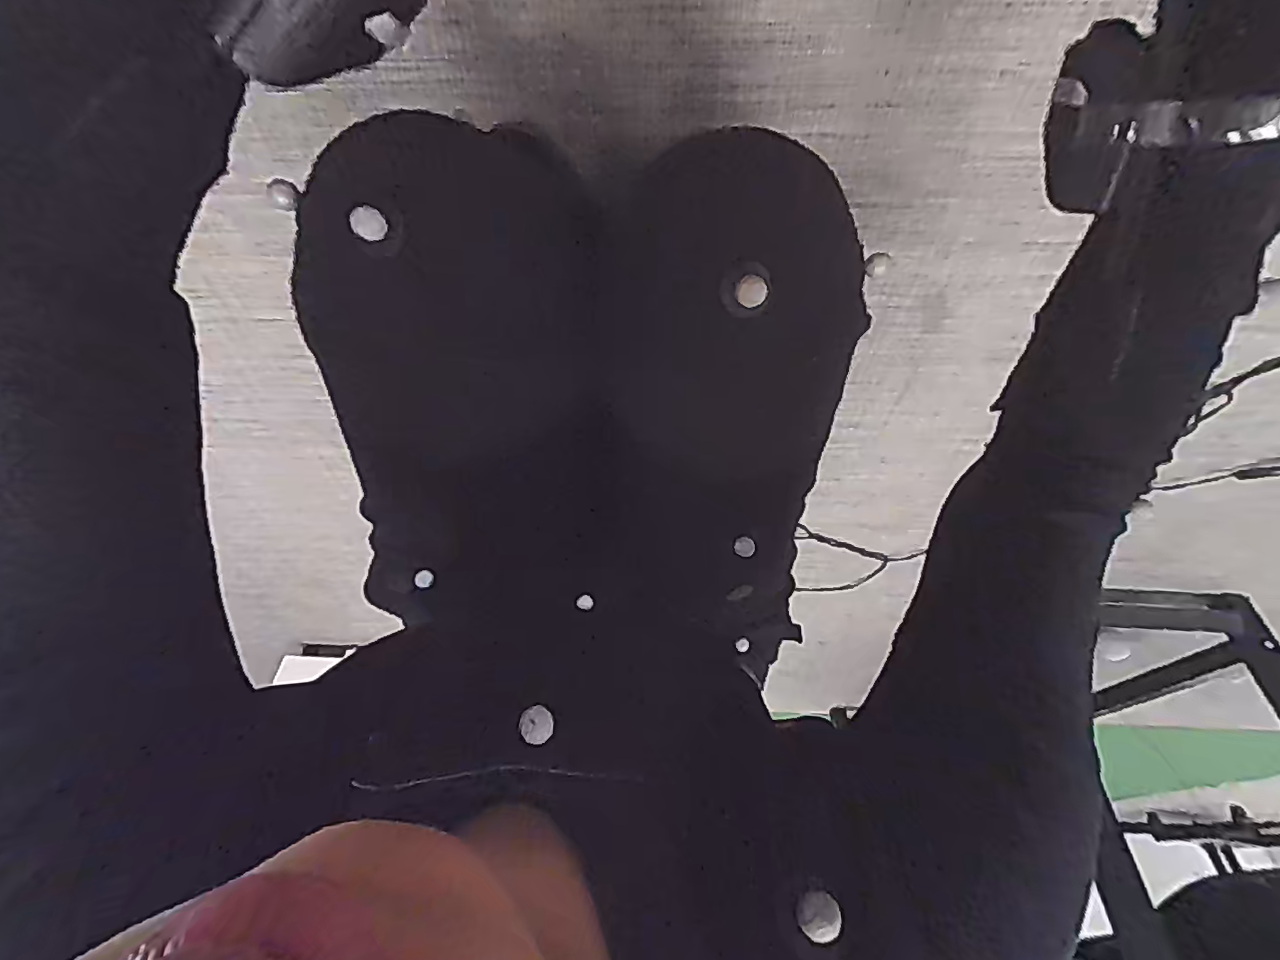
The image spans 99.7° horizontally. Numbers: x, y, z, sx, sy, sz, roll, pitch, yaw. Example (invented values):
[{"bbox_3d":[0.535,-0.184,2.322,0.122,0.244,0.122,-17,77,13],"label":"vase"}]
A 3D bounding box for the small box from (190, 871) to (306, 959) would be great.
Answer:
[{"bbox_3d":[-0.992,1.119,1.391,0.168,0.176,0.179,10,143,-10],"label":"small box"}]
